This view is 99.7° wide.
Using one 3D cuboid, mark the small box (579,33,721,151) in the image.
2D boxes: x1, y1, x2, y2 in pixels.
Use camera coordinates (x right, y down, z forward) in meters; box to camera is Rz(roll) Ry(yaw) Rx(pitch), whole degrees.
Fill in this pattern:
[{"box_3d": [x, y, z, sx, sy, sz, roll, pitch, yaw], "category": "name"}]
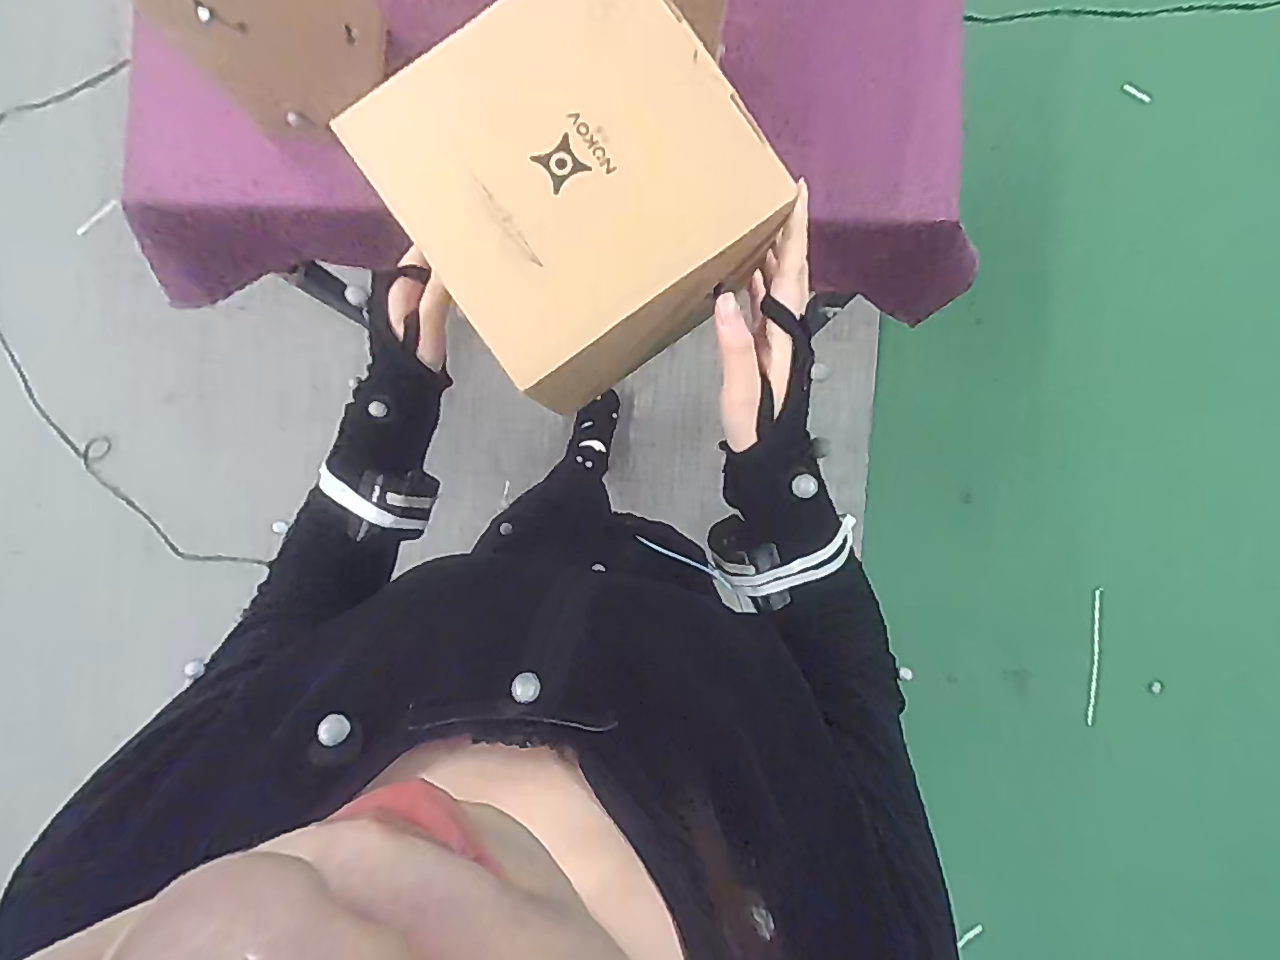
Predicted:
[{"box_3d": [0.017, -0.562, 0.702, 0.168, 0.176, 0.179, 3, 89, 0], "category": "small box"}]
